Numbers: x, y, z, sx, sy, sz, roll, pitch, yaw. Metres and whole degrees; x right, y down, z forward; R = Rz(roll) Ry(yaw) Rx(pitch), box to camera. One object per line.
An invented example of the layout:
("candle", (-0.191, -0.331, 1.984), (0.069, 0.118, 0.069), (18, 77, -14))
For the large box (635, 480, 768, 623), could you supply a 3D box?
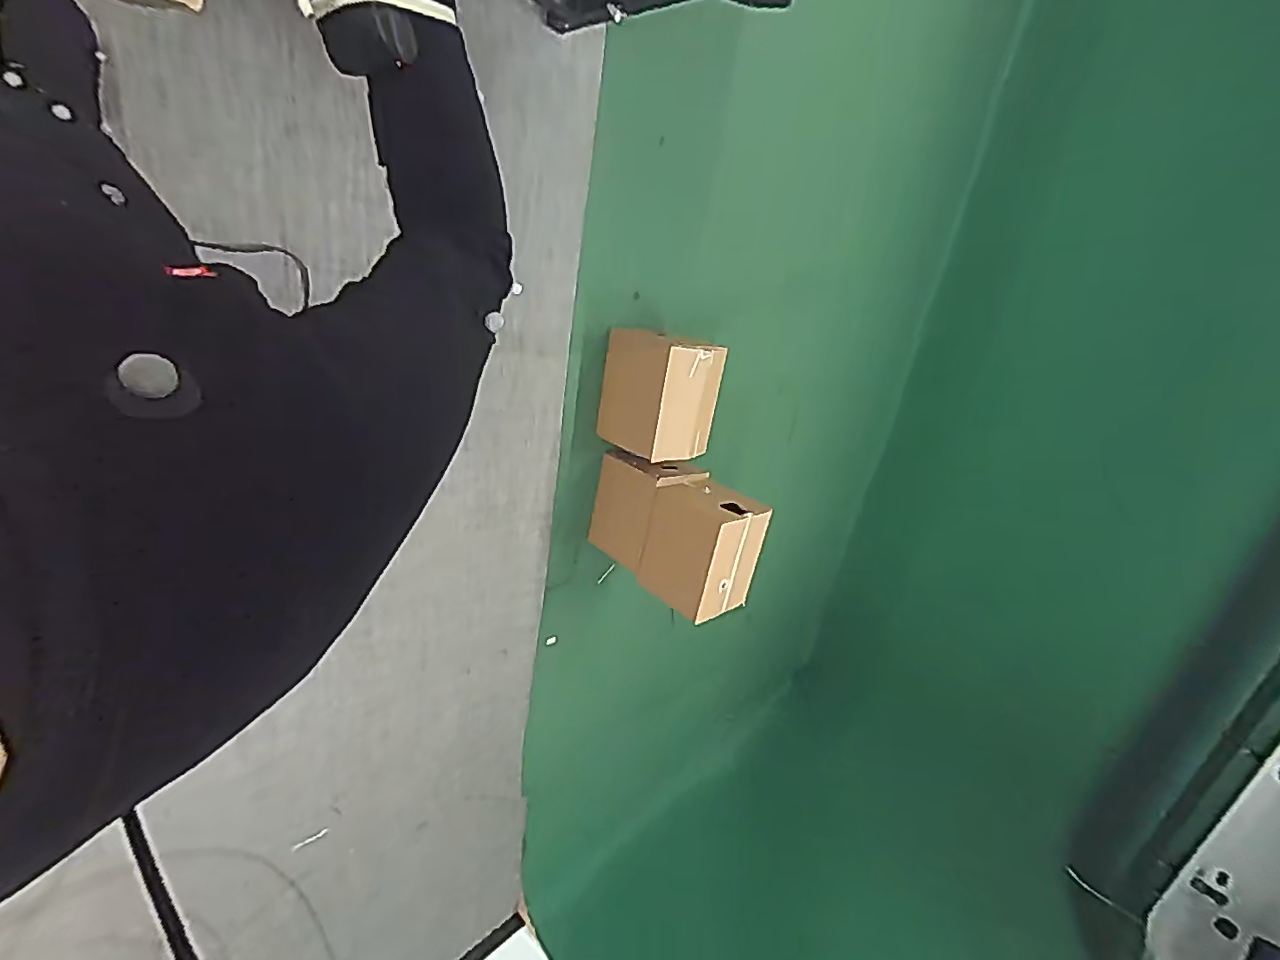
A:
("large box", (0.222, 0.250, 2.022), (0.320, 0.320, 0.408), (-8, 118, -44))
